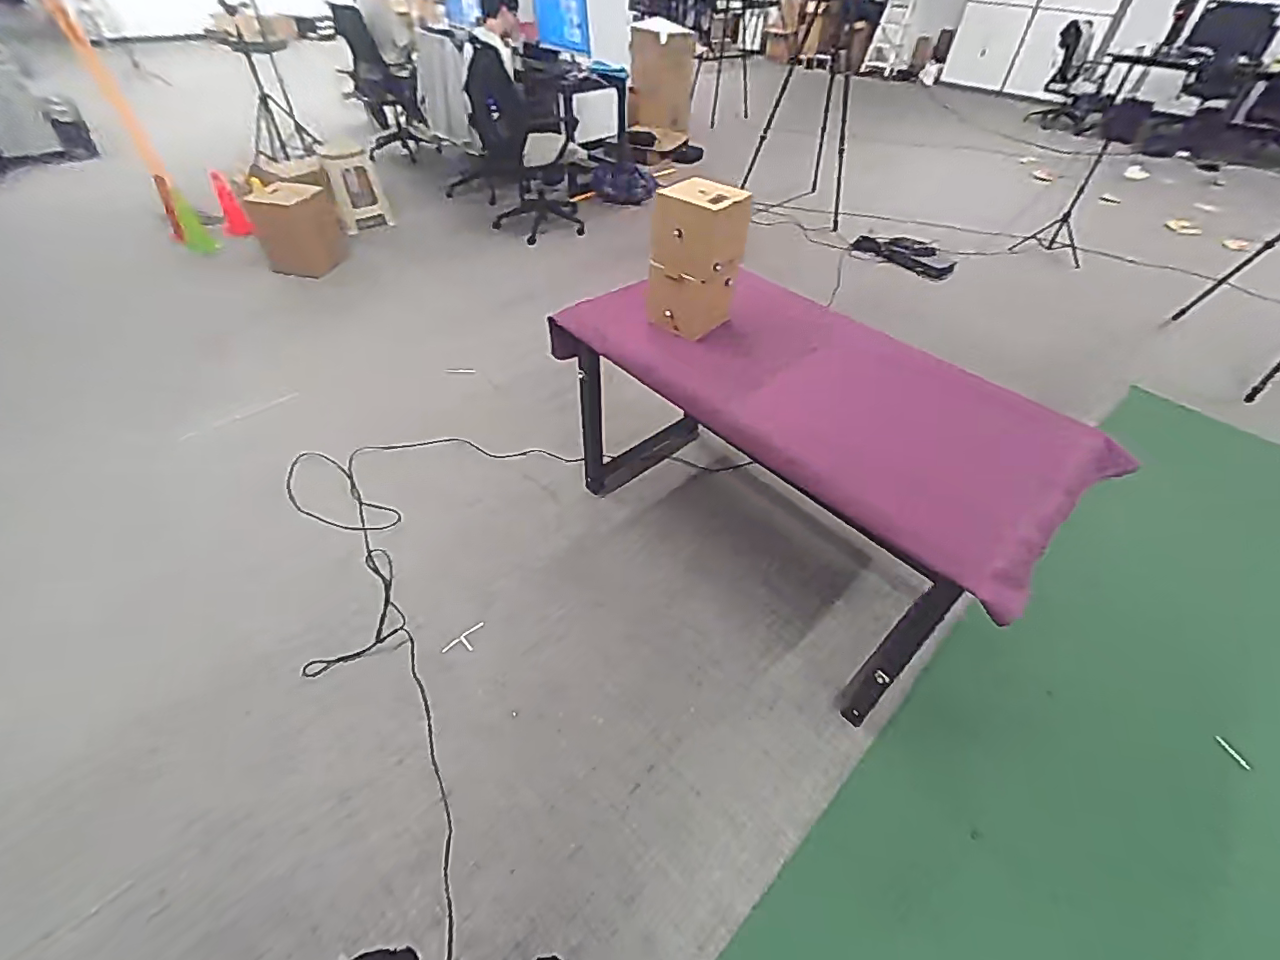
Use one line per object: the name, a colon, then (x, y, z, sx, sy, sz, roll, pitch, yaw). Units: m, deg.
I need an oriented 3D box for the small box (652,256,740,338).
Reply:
small box: (0.142, -0.510, 1.449, 0.168, 0.176, 0.179, 32, 53, 27)

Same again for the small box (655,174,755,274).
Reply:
small box: (0.154, -0.626, 1.329, 0.179, 0.176, 0.168, 35, 52, 28)
